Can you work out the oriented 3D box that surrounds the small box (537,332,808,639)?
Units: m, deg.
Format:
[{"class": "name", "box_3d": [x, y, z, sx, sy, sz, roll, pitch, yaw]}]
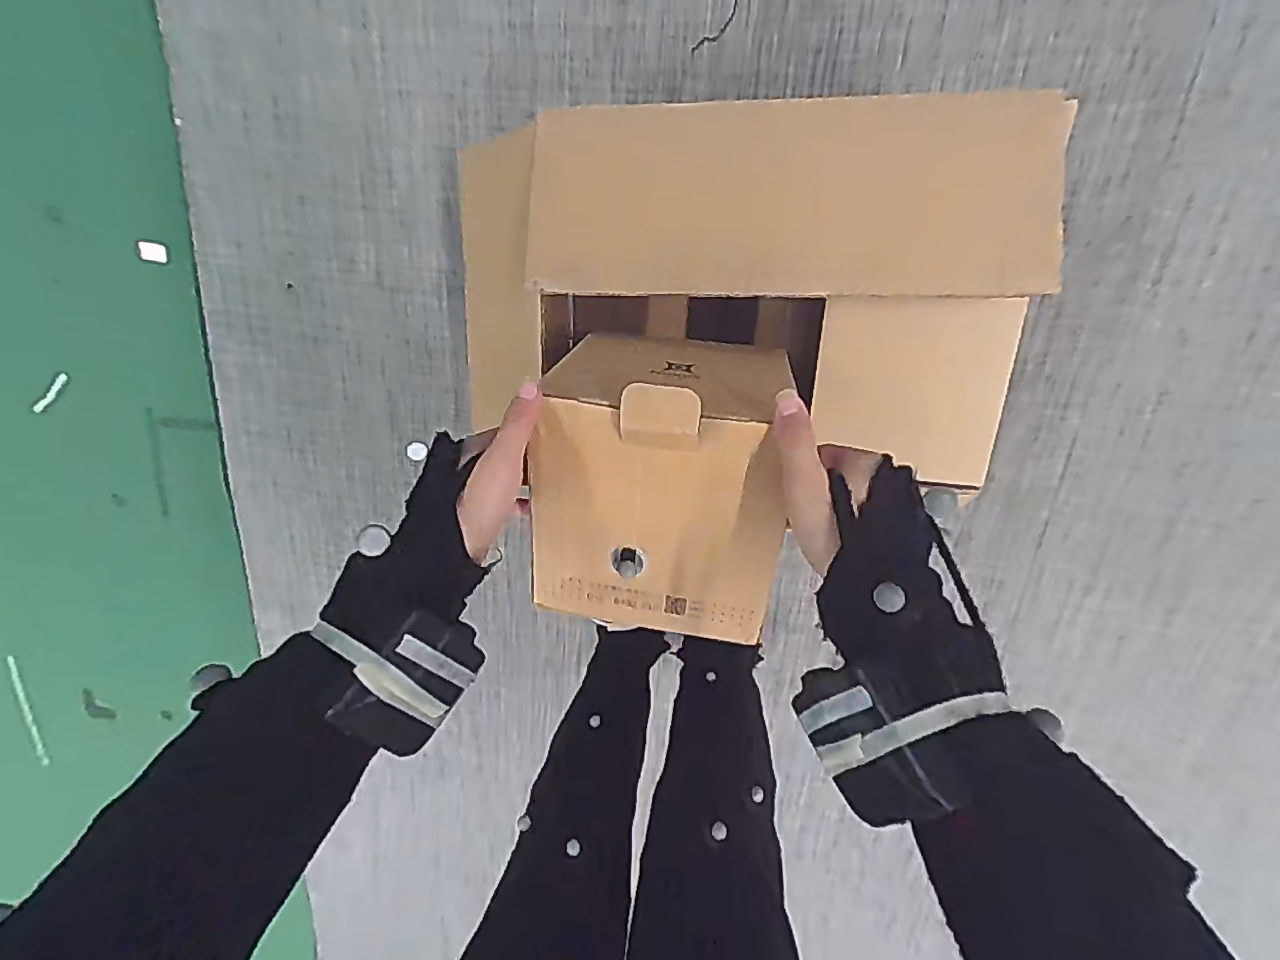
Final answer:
[{"class": "small box", "box_3d": [0.023, -0.007, 0.425, 0.168, 0.179, 0.176, 7, 118, 6]}]
